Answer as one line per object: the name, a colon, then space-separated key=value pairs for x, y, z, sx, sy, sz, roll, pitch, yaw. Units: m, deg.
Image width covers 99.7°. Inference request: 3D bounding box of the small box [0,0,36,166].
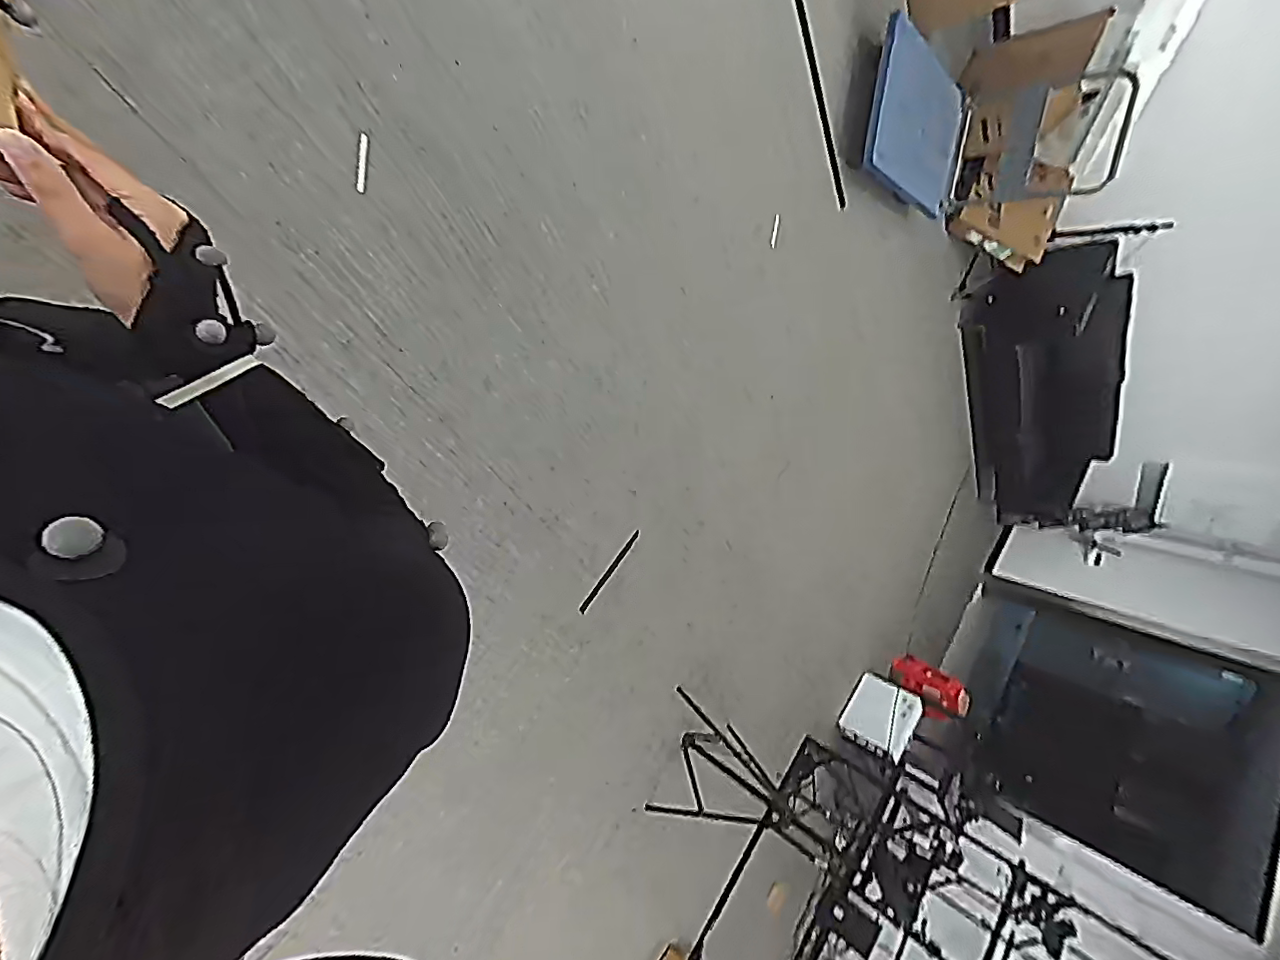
small box: x=-0.424 y=-0.269 z=0.256 sx=0.168 sy=0.176 sz=0.179 roll=-10 pitch=117 yaw=-44
